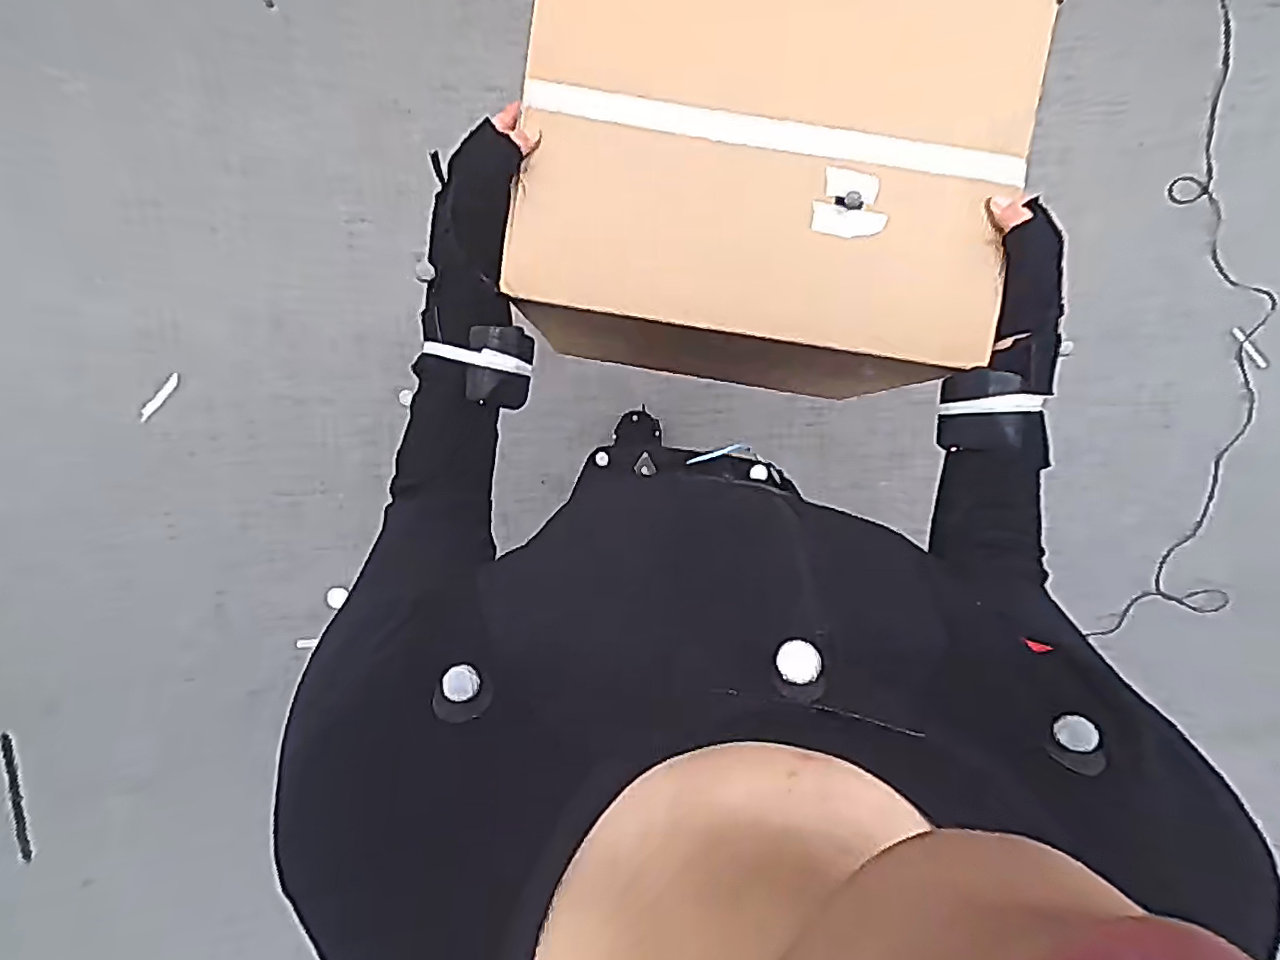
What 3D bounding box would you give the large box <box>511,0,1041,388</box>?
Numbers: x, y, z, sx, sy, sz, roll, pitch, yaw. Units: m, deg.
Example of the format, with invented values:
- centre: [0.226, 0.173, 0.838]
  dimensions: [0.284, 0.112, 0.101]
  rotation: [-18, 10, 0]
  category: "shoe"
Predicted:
- centre: [0.104, -0.292, 0.589]
  dimensions: [0.408, 0.320, 0.320]
  rotation: [9, 95, -2]
  category: "large box"
